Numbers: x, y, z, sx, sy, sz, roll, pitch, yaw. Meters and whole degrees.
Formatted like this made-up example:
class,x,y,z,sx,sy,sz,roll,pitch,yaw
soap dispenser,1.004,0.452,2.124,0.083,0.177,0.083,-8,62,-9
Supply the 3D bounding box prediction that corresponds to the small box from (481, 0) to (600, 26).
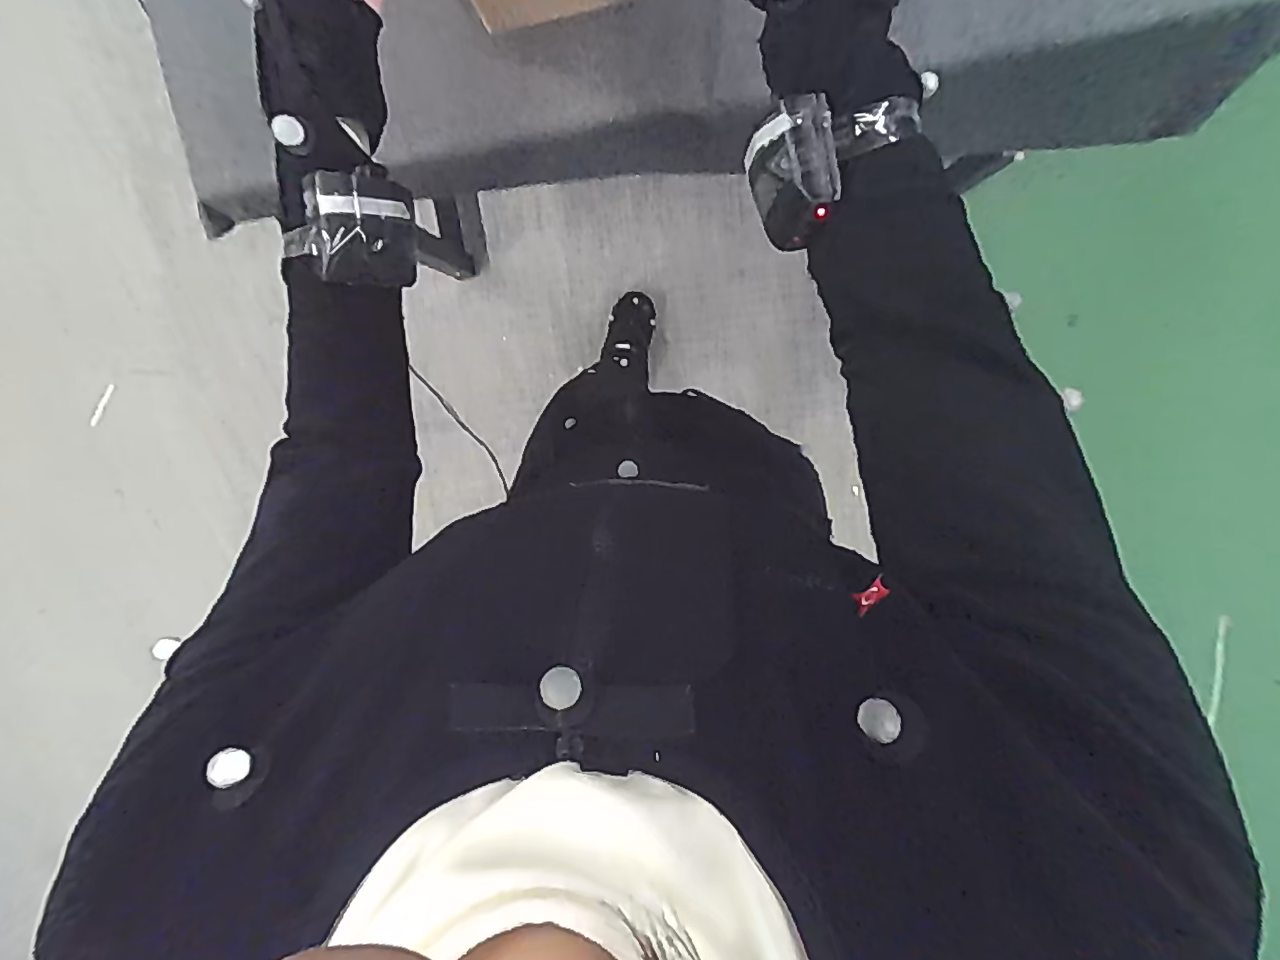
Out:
class,x,y,z,sx,sy,sz,roll,pitch,yaw
small box,-0.094,-0.566,0.487,0.179,0.176,0.168,-12,101,5
